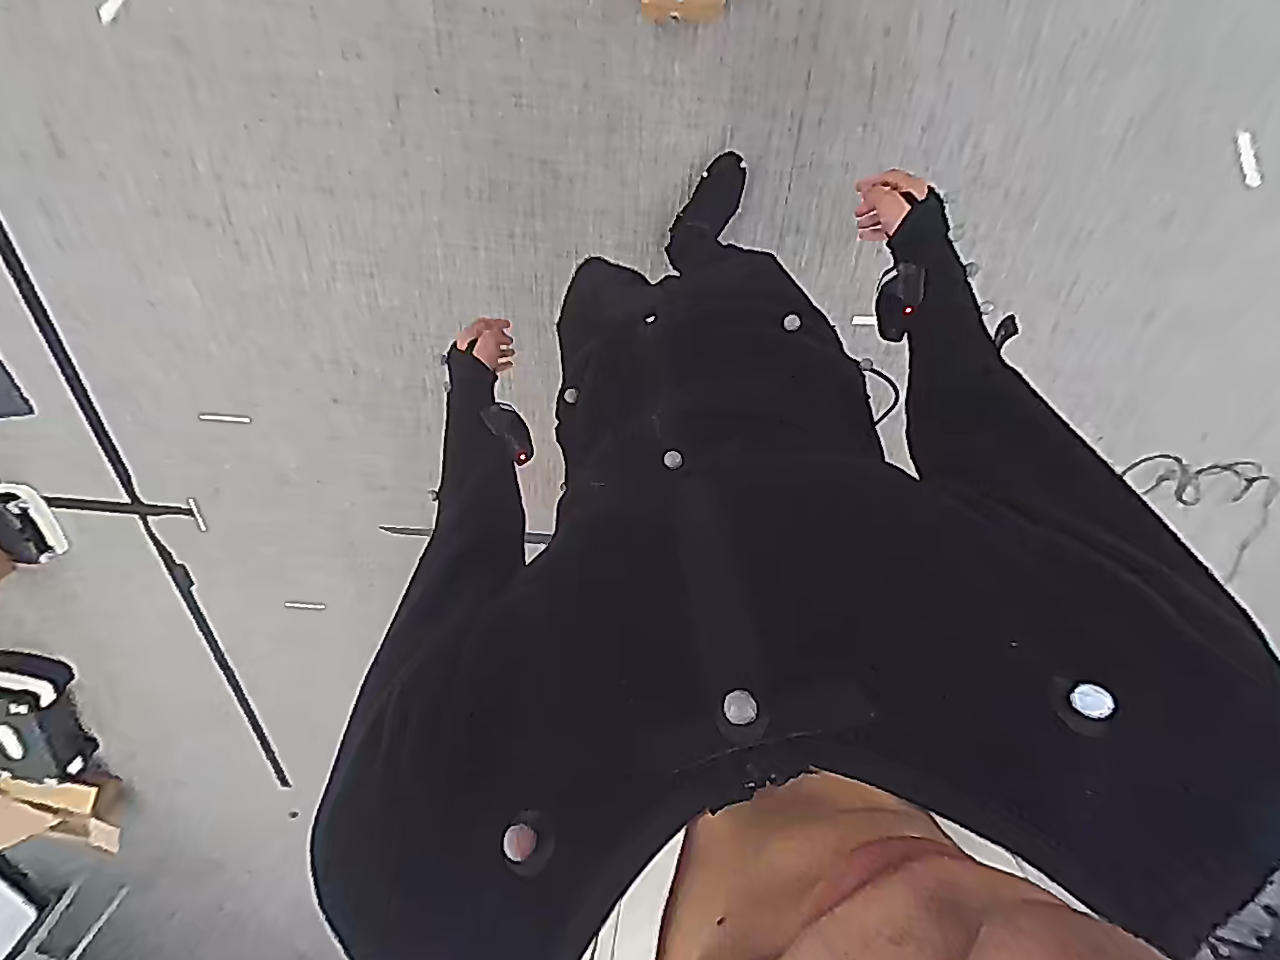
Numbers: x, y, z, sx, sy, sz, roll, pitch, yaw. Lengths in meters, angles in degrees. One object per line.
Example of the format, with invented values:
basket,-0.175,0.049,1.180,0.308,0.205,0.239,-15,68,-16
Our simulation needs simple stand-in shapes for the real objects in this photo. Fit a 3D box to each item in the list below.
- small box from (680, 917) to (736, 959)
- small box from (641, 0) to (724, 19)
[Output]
small box,0.230,1.624,1.844,0.179,0.176,0.168,2,124,1
small box,0.083,-1.033,1.056,0.168,0.176,0.179,1,122,1
